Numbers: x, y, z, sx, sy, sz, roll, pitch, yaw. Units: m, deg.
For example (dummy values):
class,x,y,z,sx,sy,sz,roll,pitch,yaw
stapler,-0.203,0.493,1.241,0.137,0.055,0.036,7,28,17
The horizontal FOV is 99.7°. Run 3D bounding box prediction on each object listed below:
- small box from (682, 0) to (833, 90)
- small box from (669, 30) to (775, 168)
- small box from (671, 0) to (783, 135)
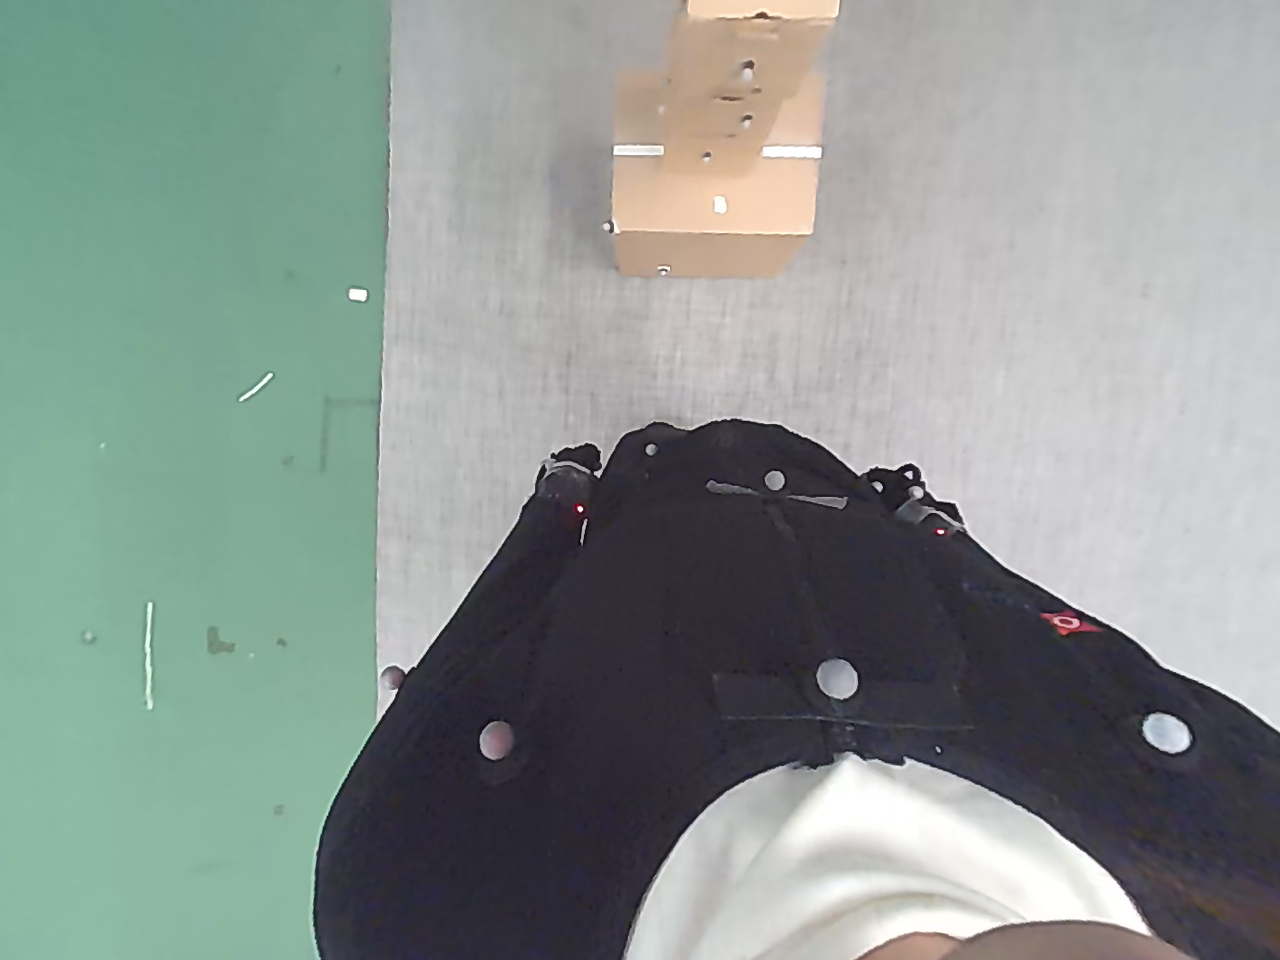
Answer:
class,x,y,z,sx,sy,sz,roll,pitch,yaw
small box,0.139,-0.607,0.655,0.168,0.176,0.179,3,102,2
small box,0.143,-0.679,0.972,0.179,0.176,0.168,2,102,3
small box,0.134,-0.647,0.813,0.168,0.176,0.179,3,101,1
